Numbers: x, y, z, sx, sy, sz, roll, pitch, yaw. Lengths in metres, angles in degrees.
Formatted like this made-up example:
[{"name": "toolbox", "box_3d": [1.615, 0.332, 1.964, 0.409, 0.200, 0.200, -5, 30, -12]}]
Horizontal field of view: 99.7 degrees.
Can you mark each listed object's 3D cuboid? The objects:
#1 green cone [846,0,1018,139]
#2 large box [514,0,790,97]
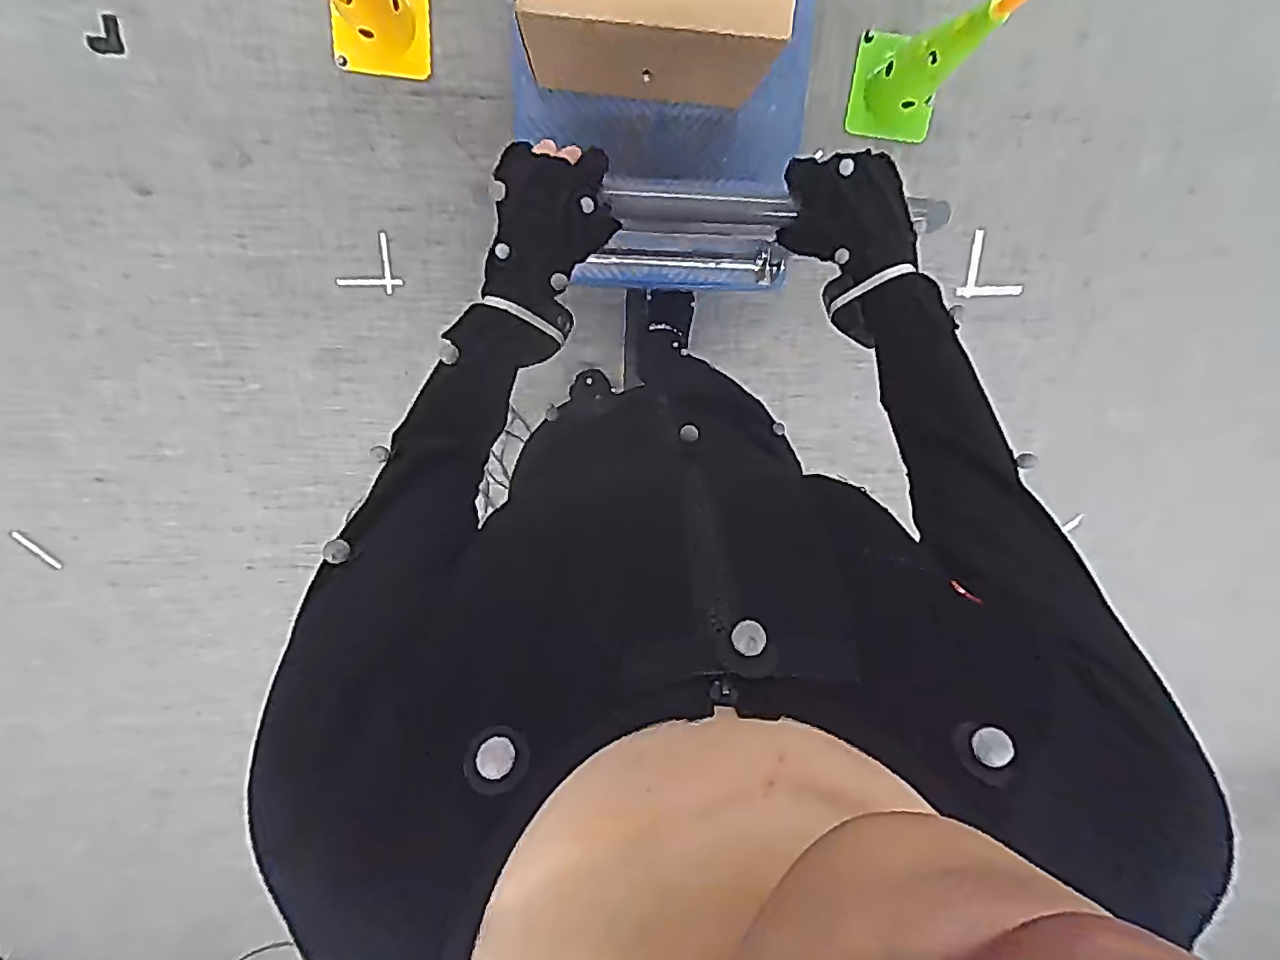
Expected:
[{"name": "green cone", "box_3d": [0.594, -0.847, 1.070, 0.202, 0.368, 0.200, 4, 108, -6]}, {"name": "large box", "box_3d": [0.020, -0.858, 0.875, 0.408, 0.320, 0.320, 2, 109, -4]}]
